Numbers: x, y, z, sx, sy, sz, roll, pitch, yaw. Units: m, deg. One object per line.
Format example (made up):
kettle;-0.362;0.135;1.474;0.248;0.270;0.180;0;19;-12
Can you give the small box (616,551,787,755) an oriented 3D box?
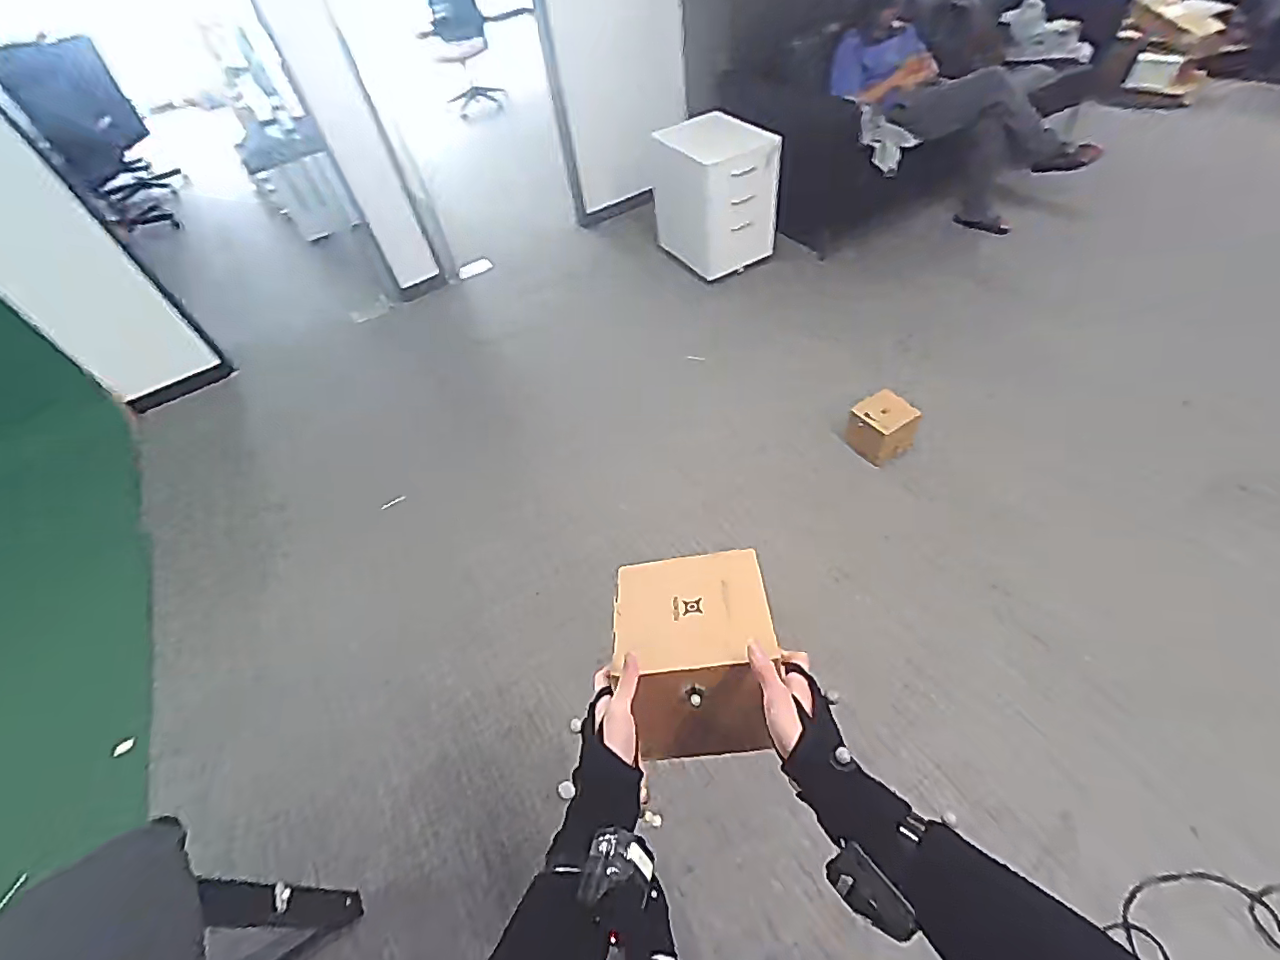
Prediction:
small box;0.074;0.213;0.660;0.179;0.176;0.168;-8;34;5

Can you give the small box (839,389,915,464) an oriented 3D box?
small box;0.850;-0.192;1.961;0.179;0.176;0.168;-28;52;-15
